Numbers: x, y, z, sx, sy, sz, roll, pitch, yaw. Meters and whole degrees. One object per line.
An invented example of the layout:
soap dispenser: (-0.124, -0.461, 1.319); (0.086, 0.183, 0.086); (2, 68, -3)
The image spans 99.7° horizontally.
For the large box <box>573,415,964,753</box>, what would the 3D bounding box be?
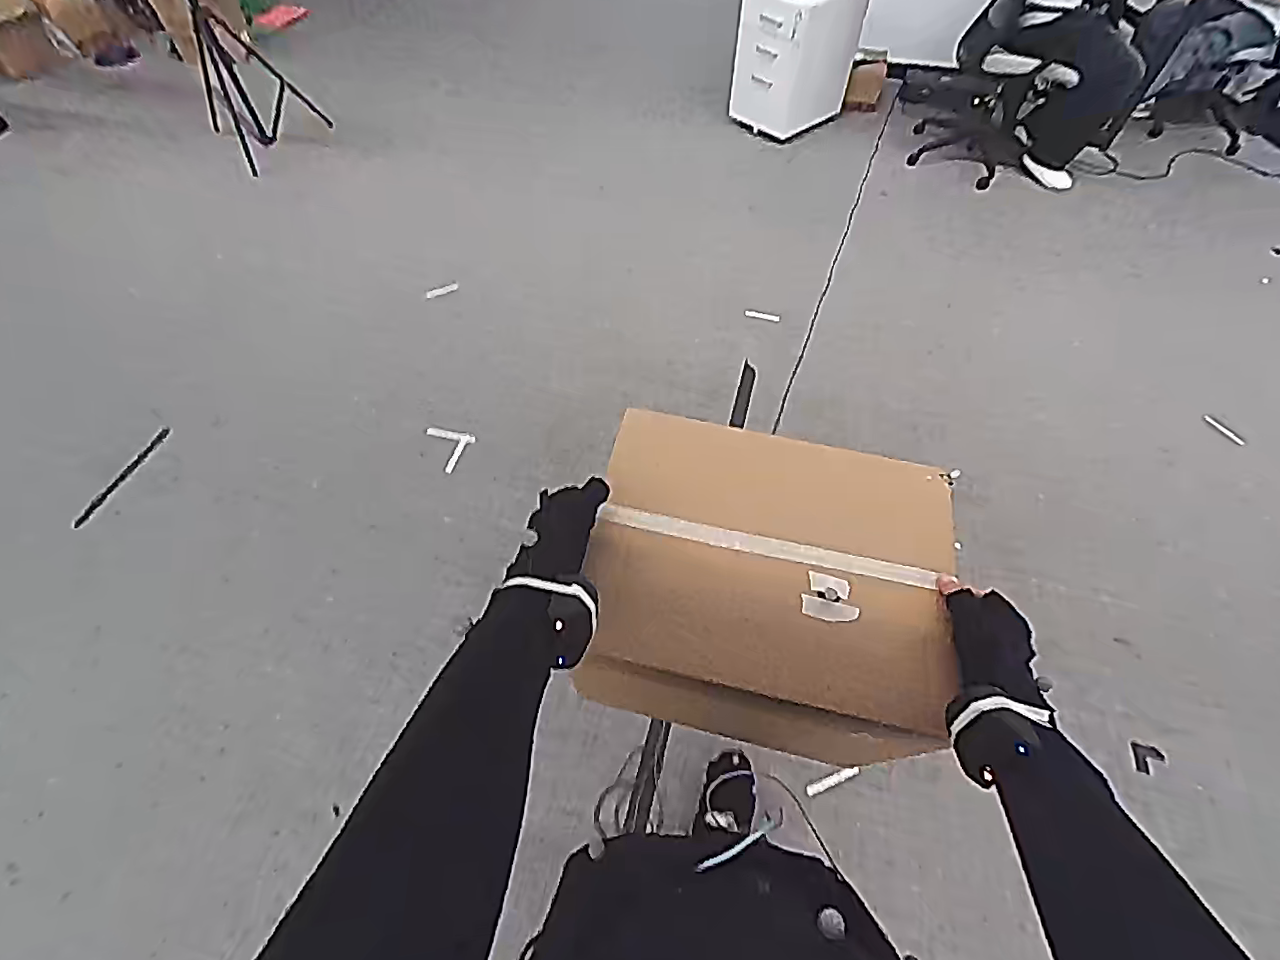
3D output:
large box: (0.149, 0.152, 0.743); (0.408, 0.320, 0.320); (12, 60, 6)
